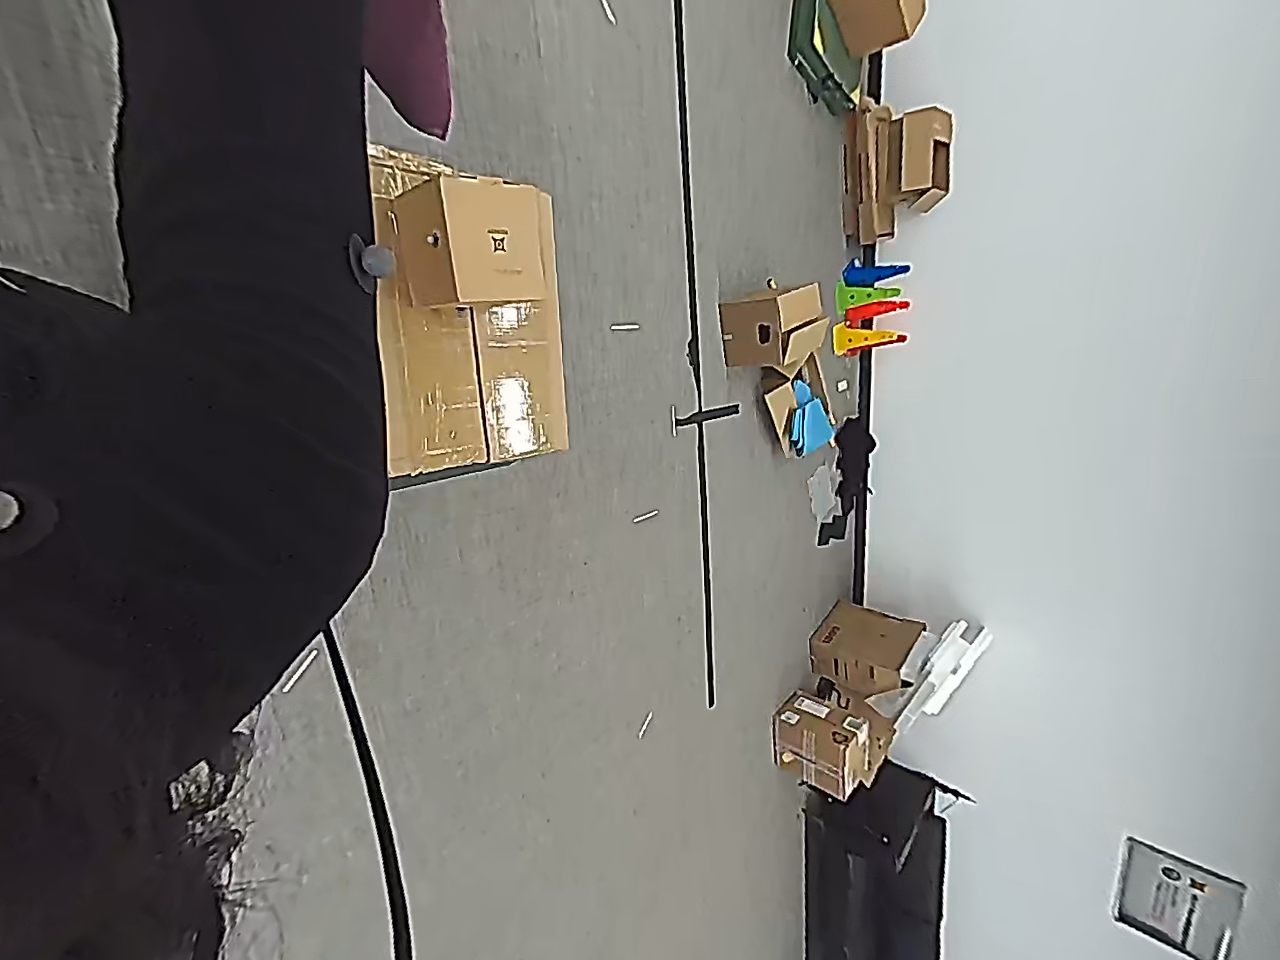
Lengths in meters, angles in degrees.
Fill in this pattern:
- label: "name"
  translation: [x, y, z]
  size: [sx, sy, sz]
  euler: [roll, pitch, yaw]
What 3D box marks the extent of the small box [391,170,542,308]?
- label: "small box"
  translation: [-0.283, -0.379, 0.882]
  size: [0.168, 0.176, 0.179]
  euler: [-19, 113, -42]
